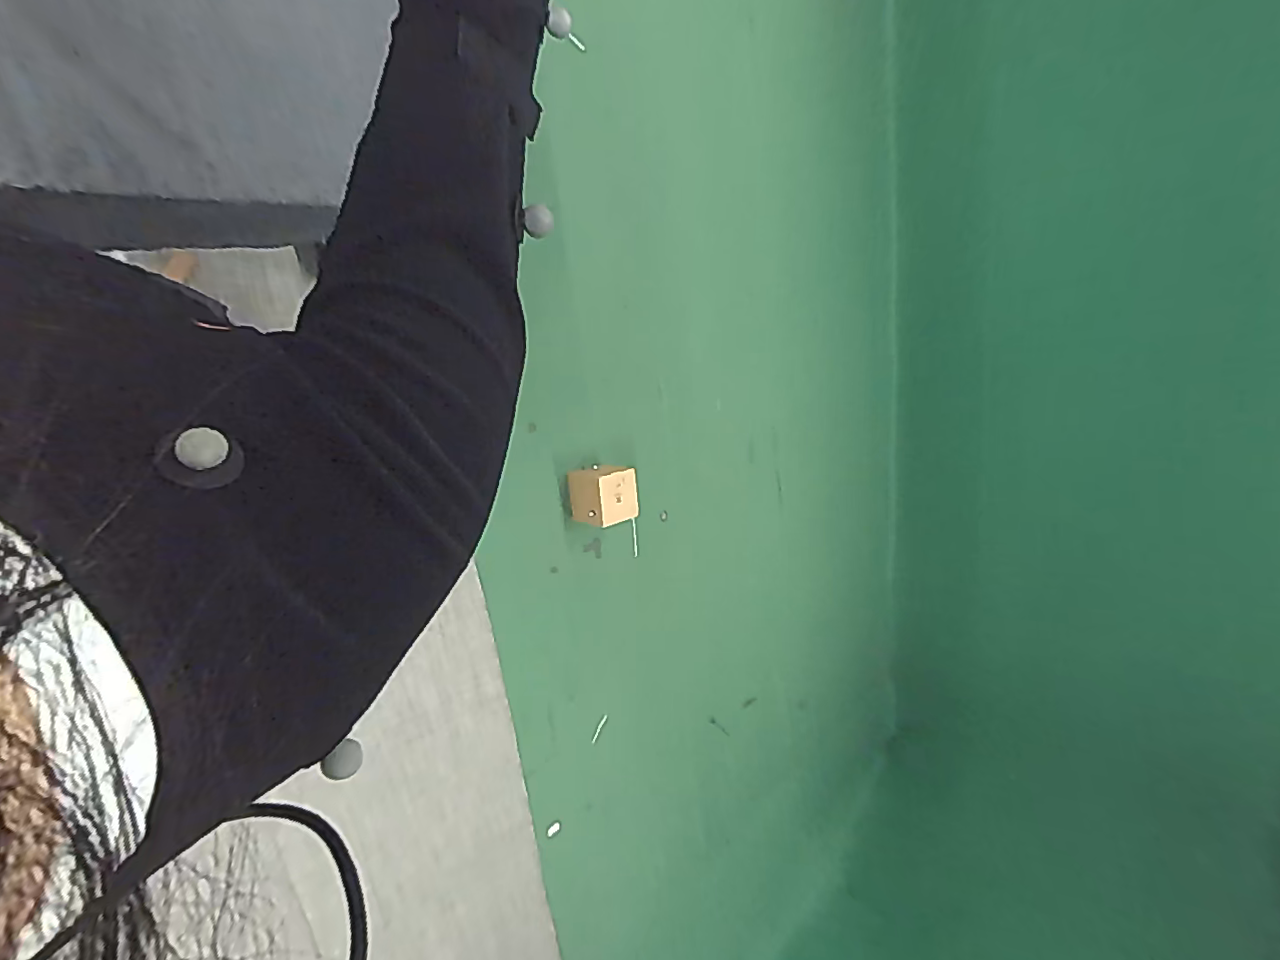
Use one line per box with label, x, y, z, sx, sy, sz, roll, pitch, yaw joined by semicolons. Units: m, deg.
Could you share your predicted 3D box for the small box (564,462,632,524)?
small box;-0.147;0.041;1.886;0.168;0.176;0.179;-16;106;-43
